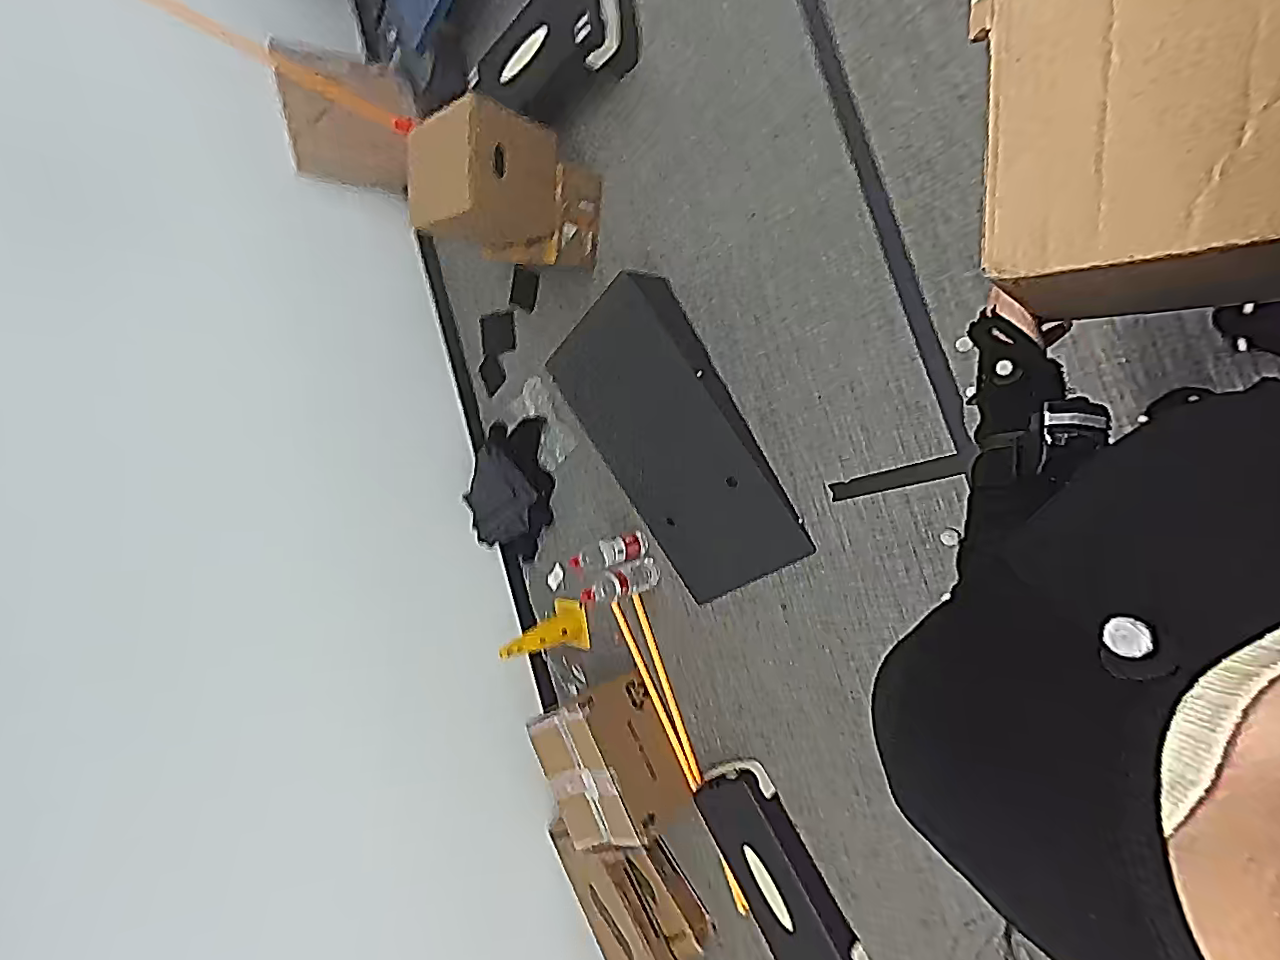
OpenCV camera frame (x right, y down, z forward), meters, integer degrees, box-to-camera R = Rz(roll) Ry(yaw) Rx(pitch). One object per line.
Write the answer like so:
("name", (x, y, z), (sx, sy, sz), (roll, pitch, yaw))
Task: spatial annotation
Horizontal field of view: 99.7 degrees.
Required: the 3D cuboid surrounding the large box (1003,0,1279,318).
("large box", (0.436, -0.272, 0.260), (0.408, 0.320, 0.320), (5, 102, 40))
